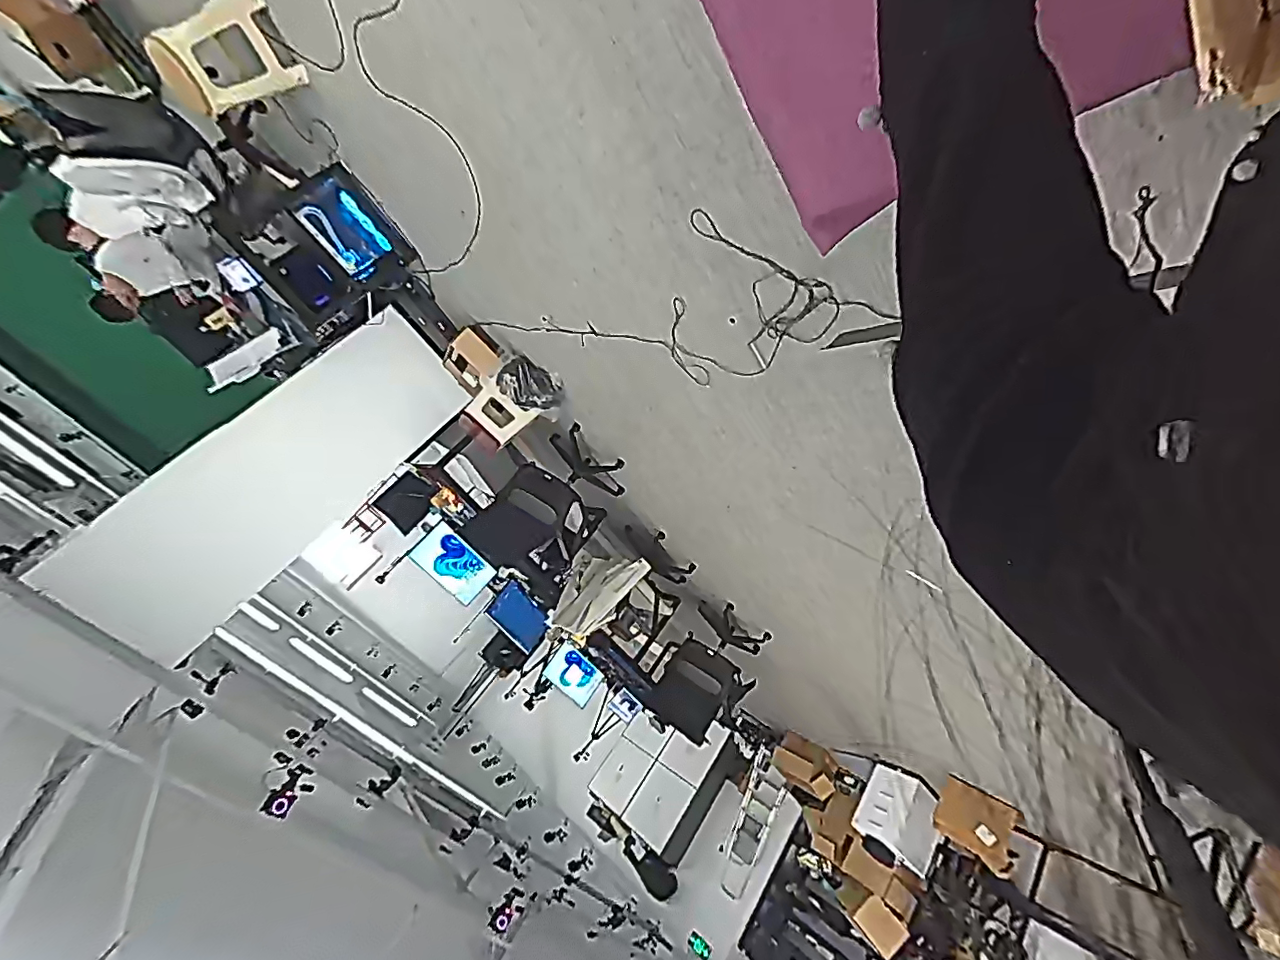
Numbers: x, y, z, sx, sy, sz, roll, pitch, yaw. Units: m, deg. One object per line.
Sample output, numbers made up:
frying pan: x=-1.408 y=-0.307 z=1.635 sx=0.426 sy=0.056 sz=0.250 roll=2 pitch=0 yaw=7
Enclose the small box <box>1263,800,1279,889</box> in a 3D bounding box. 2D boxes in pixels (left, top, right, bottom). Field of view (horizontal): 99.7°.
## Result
small box: x=1.713 y=0.956 z=1.366 sx=0.168 sy=0.176 sz=0.179 roll=7 pitch=139 yaw=52
